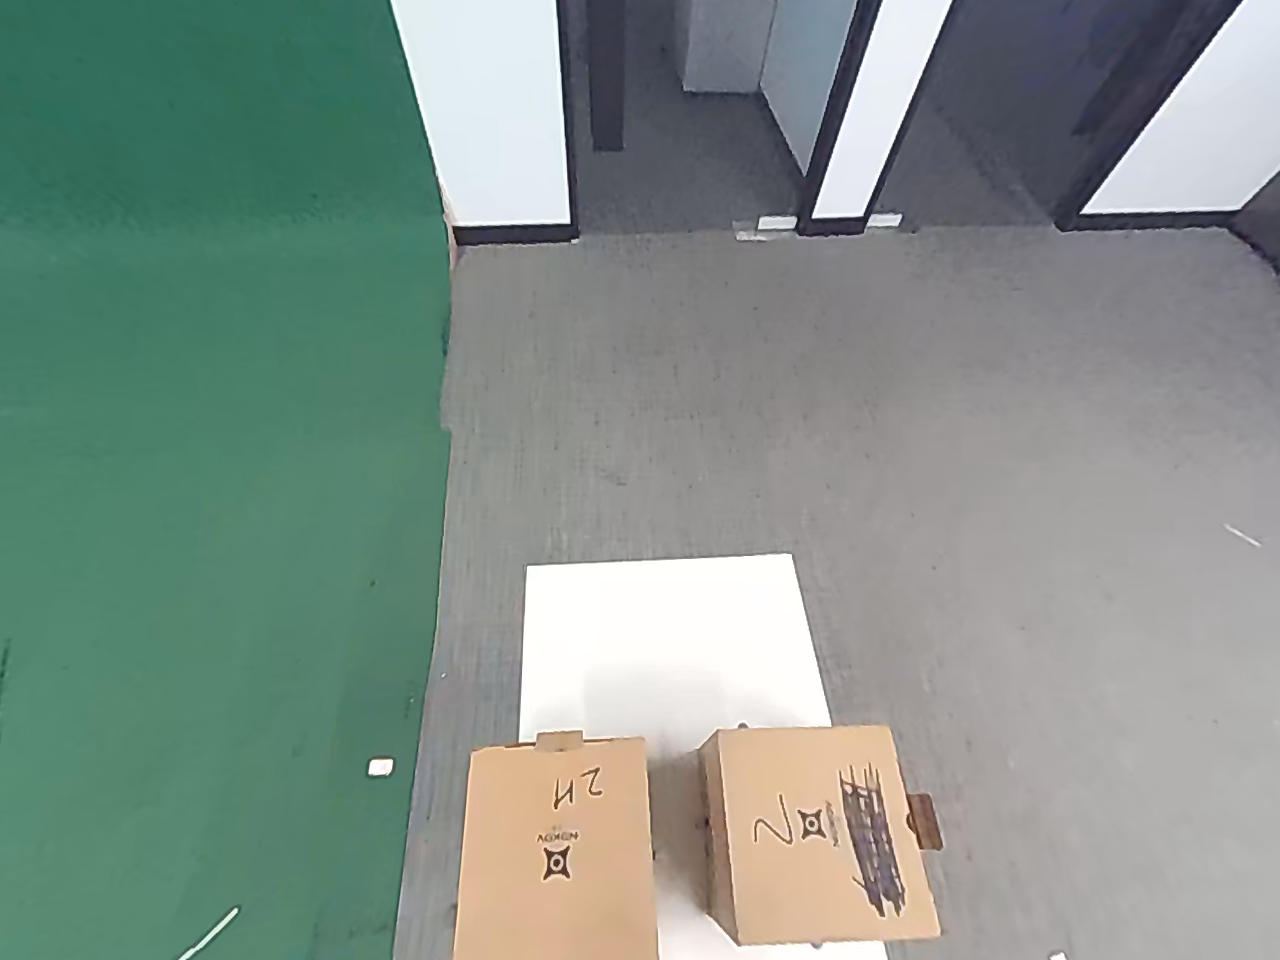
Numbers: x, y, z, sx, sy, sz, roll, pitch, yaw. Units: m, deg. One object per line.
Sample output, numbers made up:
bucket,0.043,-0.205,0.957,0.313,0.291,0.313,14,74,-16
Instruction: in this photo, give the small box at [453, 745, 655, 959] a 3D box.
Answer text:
small box,-0.075,0.371,0.535,0.168,0.176,0.179,0,57,-5
